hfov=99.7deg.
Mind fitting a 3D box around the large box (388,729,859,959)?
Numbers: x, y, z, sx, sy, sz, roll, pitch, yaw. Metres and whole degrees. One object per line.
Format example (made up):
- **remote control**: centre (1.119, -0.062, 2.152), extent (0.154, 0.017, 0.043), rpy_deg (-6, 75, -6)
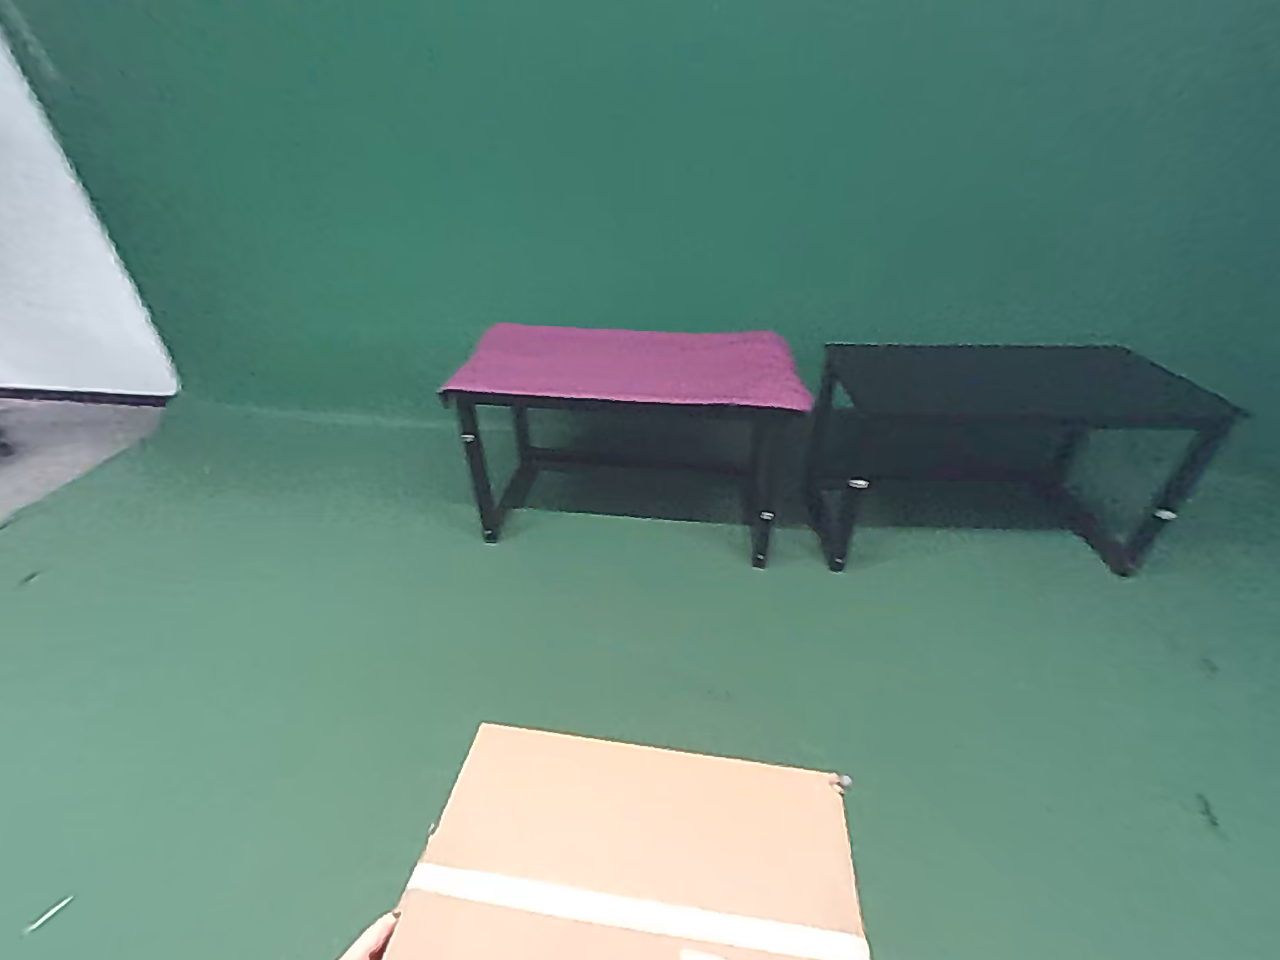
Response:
- **large box**: centre (-0.014, 0.512, 0.567), extent (0.408, 0.320, 0.320), rpy_deg (6, 33, 5)
